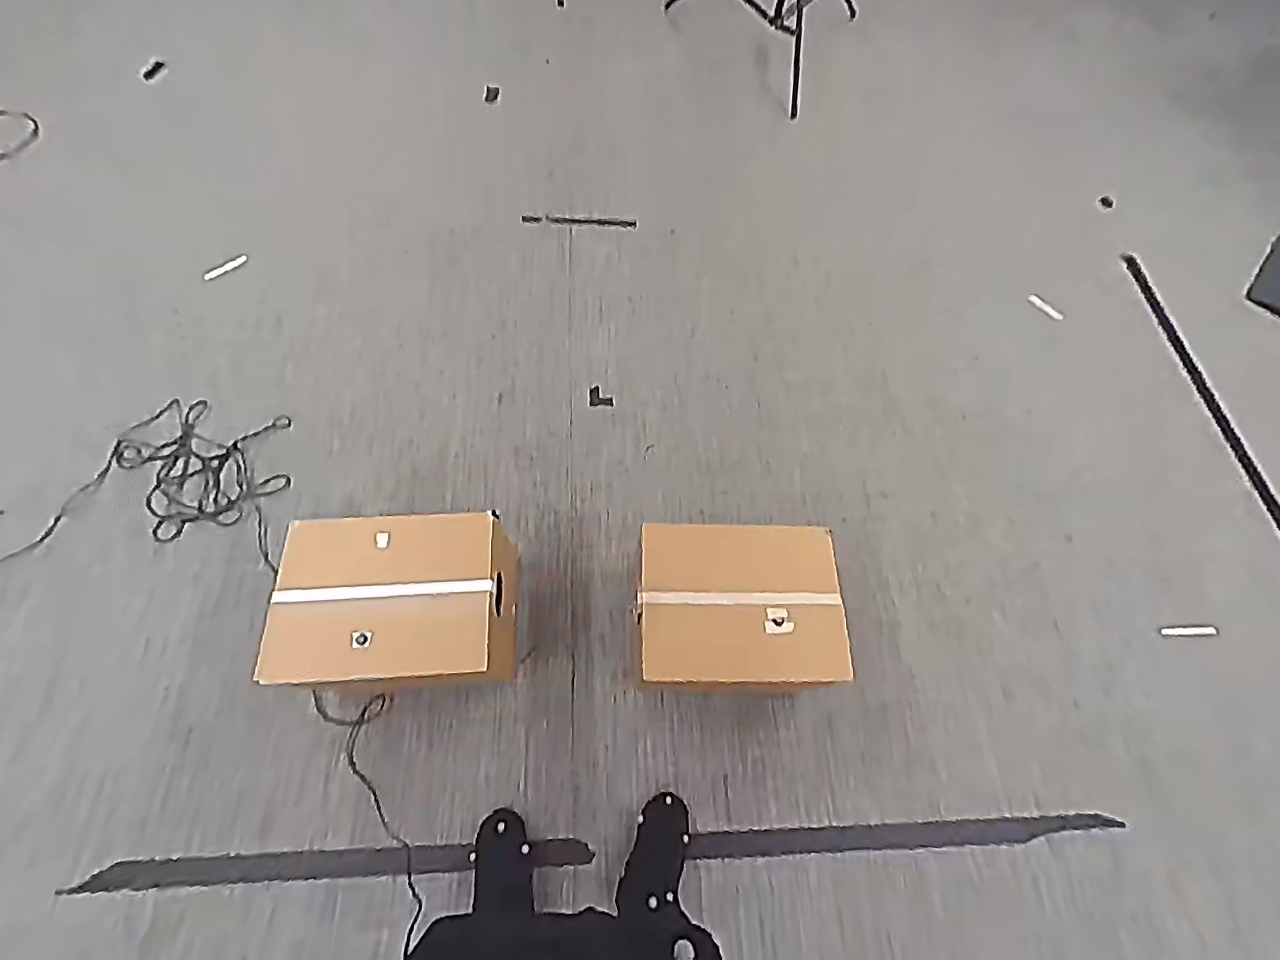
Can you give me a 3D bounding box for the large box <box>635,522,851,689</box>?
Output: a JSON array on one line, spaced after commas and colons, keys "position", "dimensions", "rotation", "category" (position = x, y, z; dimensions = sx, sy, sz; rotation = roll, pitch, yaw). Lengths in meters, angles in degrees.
[{"position": [0.198, 0.295, 1.222], "dimensions": [0.408, 0.320, 0.320], "rotation": [2, 66, -4], "category": "large box"}]
